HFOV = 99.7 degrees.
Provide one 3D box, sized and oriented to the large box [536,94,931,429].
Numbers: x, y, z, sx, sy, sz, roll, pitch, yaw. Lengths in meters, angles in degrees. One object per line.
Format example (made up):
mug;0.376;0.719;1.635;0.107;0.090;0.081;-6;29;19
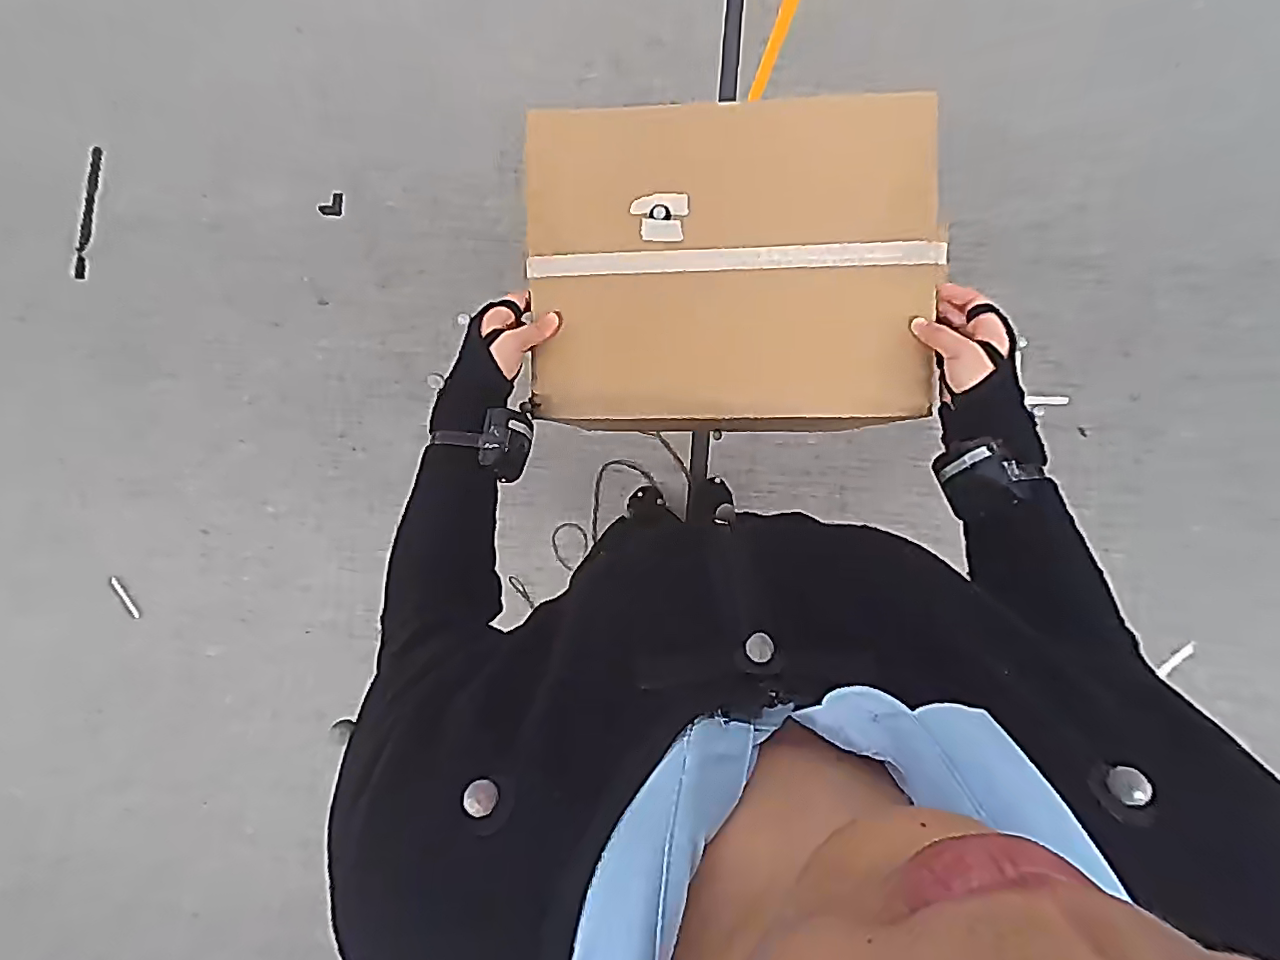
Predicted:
large box;0.107;-0.229;0.701;0.408;0.320;0.320;0;91;6
